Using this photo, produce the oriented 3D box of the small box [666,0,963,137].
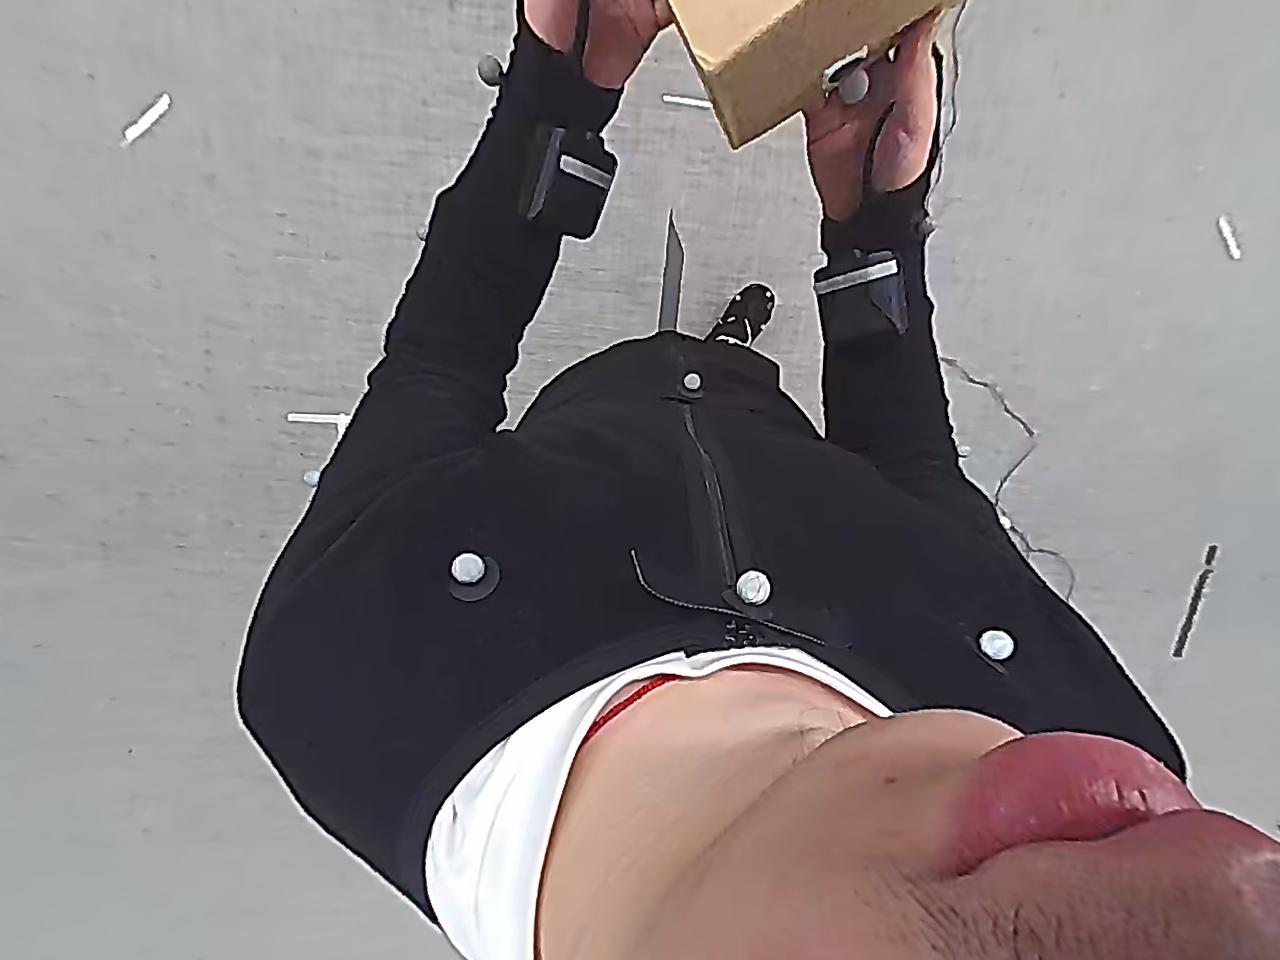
[{"bbox_3d":[0.074,-0.297,0.245,0.168,0.176,0.179,-26,105,23],"label":"small box"}]
